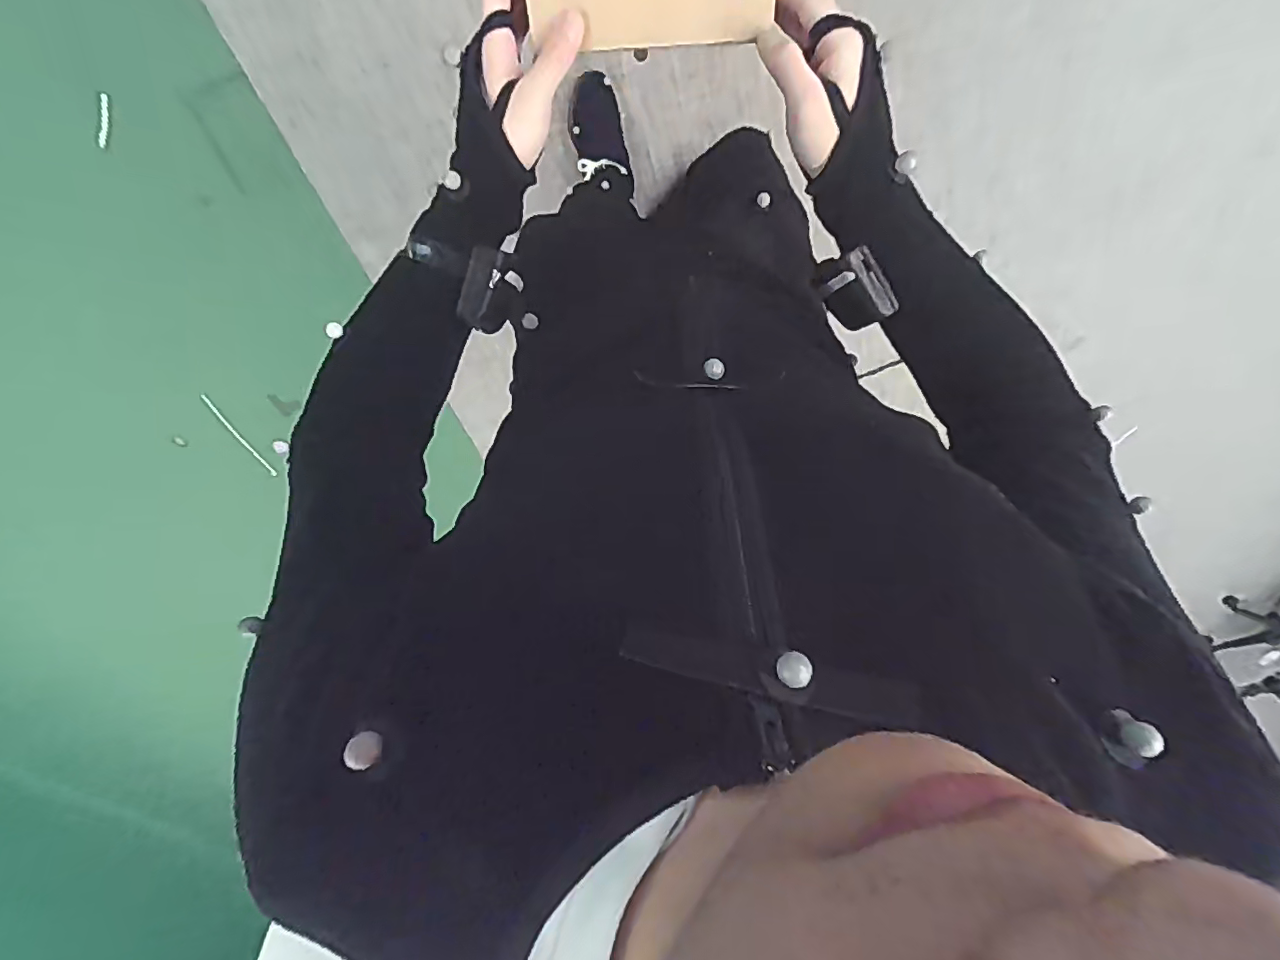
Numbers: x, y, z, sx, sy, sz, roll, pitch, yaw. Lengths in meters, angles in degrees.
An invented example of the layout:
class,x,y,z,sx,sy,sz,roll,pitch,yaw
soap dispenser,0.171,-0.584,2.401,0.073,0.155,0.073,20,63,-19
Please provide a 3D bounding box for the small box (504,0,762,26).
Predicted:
class,x,y,z,sx,sy,sz,roll,pitch,yaw
small box,-0.006,-0.427,0.367,0.179,0.176,0.168,0,136,1
